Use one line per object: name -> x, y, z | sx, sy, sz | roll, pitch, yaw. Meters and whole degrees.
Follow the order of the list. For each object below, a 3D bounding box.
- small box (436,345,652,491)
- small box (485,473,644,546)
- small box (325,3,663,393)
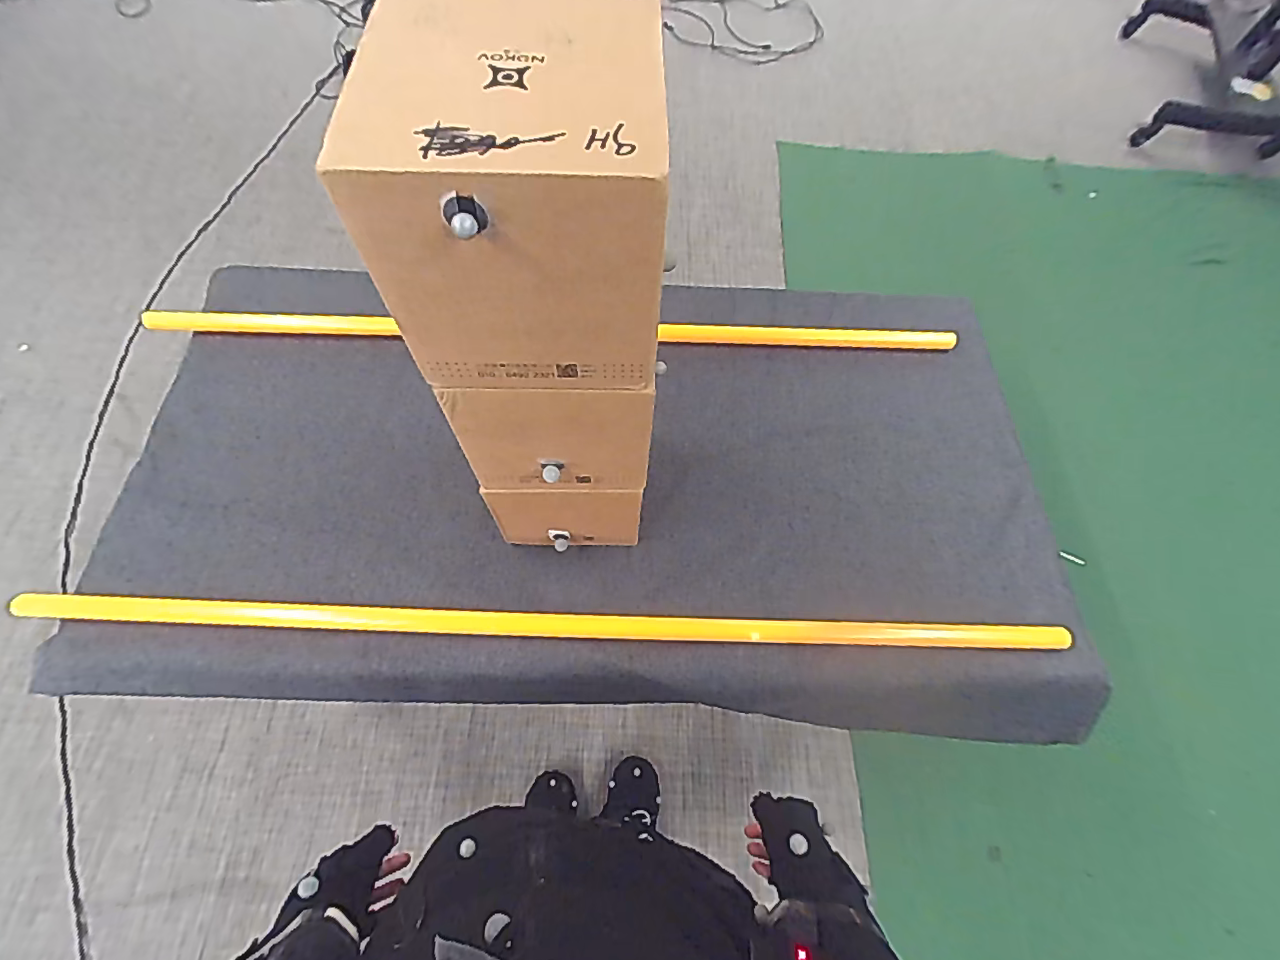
small box -> -0.075, -0.105, 0.515 | 0.168, 0.176, 0.179 | 0, 64, -1
small box -> -0.082, -0.029, 0.661 | 0.168, 0.176, 0.179 | -1, 65, -2
small box -> -0.073, -0.181, 0.370 | 0.168, 0.176, 0.179 | 0, 62, -1
